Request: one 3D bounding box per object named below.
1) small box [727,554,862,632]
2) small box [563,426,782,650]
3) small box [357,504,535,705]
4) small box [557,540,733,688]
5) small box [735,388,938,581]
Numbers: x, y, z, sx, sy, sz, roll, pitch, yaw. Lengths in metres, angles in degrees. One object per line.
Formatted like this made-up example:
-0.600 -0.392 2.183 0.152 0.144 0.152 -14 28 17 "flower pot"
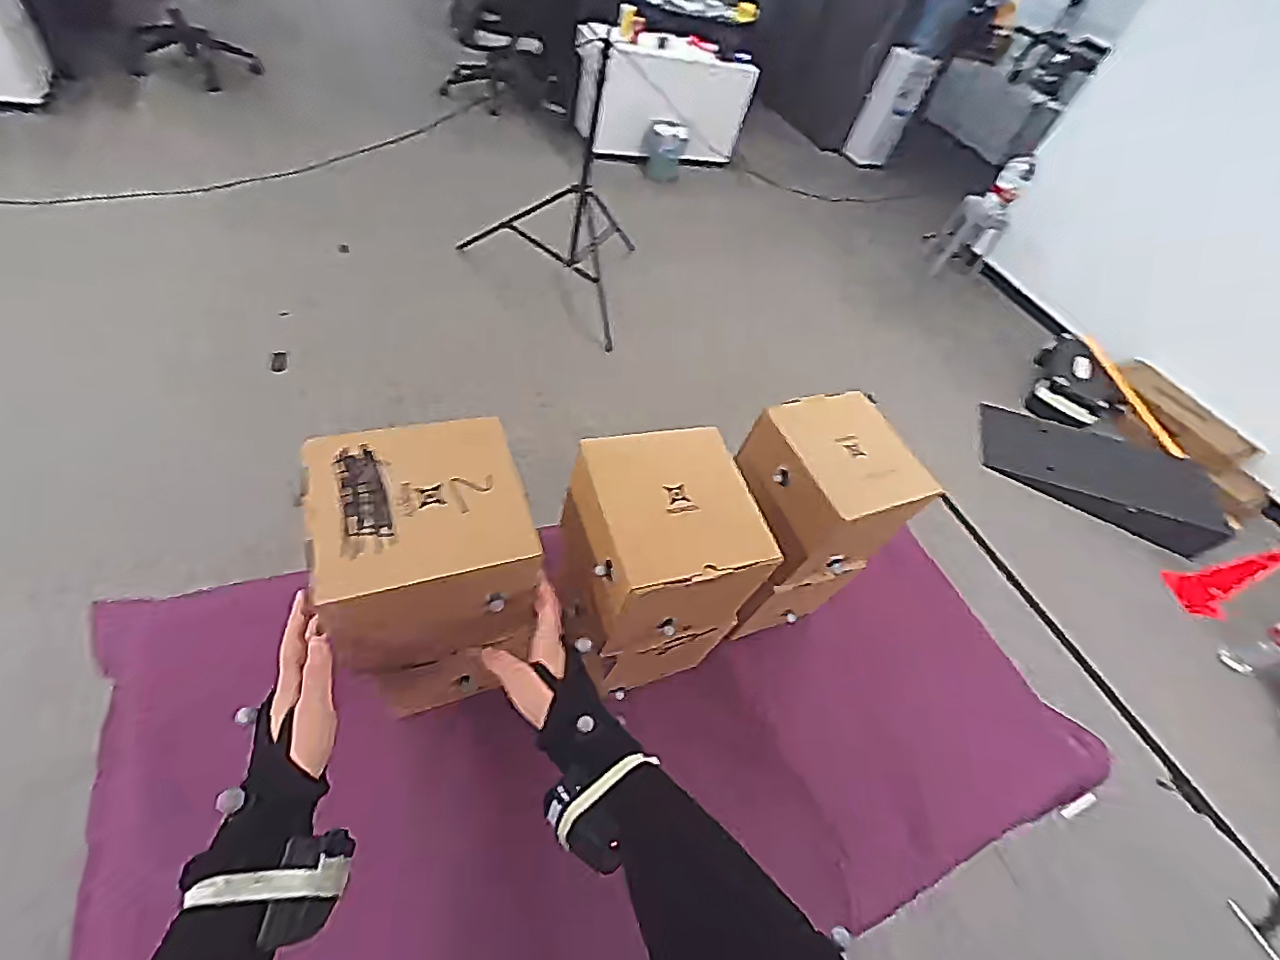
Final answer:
0.194 0.108 0.838 0.168 0.176 0.179 -11 58 -24 "small box"
0.019 0.063 0.606 0.168 0.176 0.179 -9 57 -23 "small box"
-0.235 0.158 0.664 0.168 0.176 0.179 -11 58 -24 "small box"
-0.005 0.163 0.734 0.168 0.176 0.179 -11 57 -24 "small box"
0.236 0.006 0.719 0.168 0.176 0.179 -13 59 -25 "small box"
